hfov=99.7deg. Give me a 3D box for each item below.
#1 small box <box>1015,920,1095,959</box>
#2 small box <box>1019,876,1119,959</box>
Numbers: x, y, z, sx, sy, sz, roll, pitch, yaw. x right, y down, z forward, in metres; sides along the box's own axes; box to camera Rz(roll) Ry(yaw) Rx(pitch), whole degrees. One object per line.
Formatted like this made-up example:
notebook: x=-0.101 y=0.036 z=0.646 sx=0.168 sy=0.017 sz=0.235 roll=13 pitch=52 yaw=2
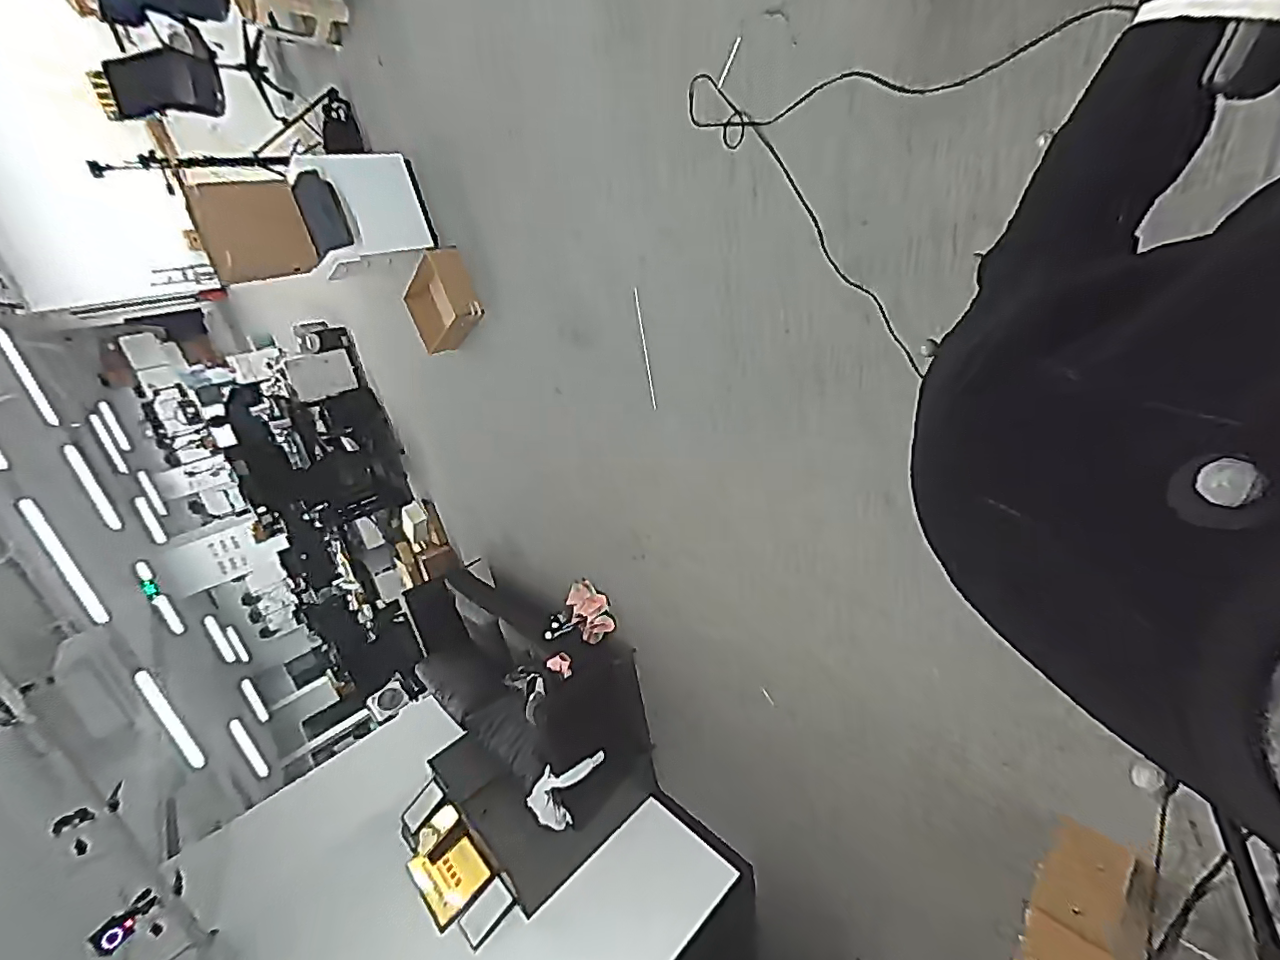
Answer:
small box: x=1.041 y=1.269 z=1.347 sx=0.179 sy=0.176 sz=0.168 roll=15 pitch=122 yaw=47
small box: x=1.154 y=1.221 z=1.456 sx=0.179 sy=0.176 sz=0.168 roll=11 pitch=120 yaw=46
